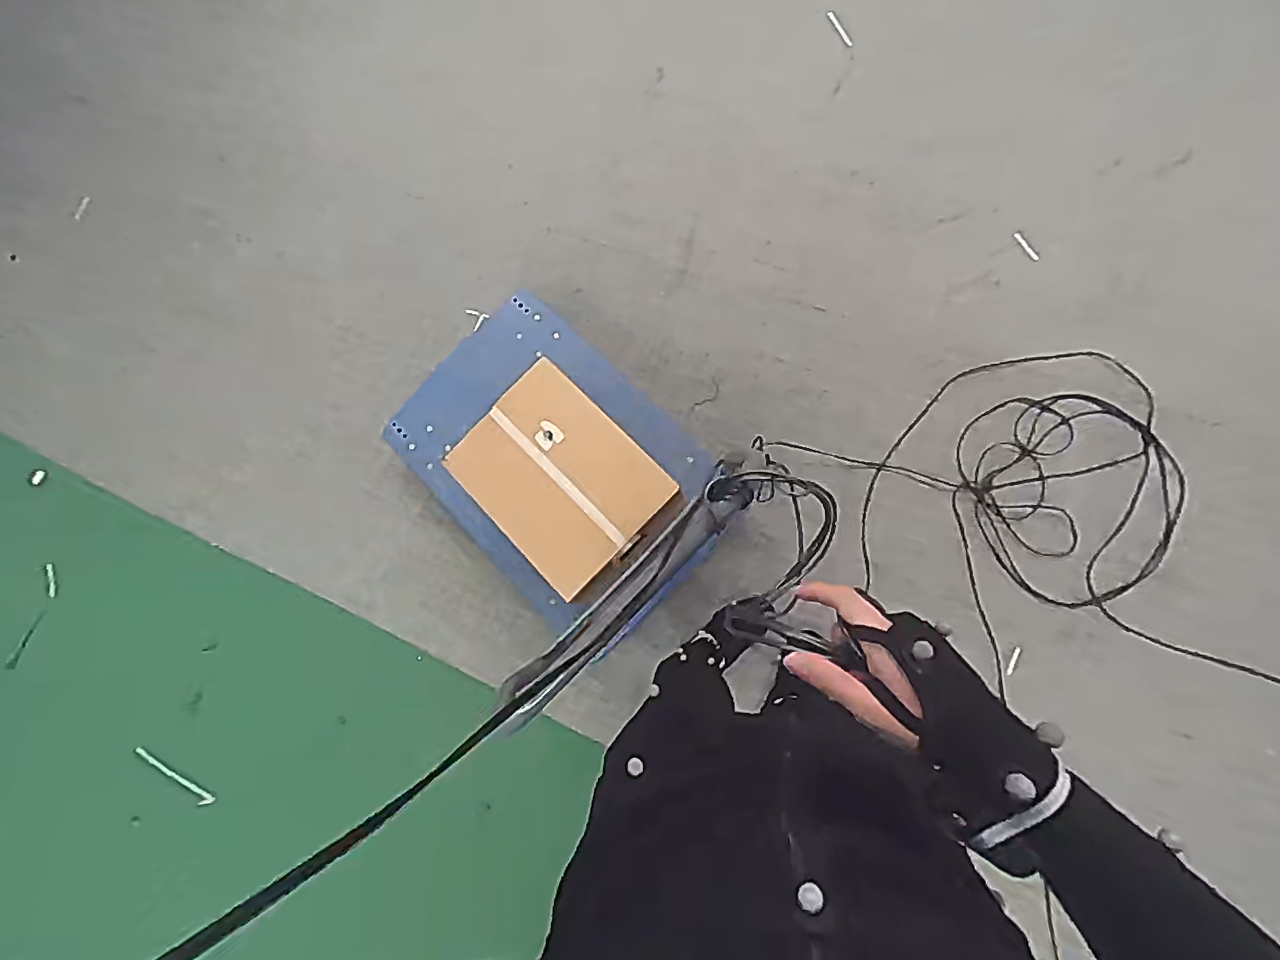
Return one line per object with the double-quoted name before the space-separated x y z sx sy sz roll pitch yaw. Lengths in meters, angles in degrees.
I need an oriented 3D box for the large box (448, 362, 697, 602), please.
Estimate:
"large box" -0.128 0.018 1.211 0.320 0.320 0.408 -46 76 0
